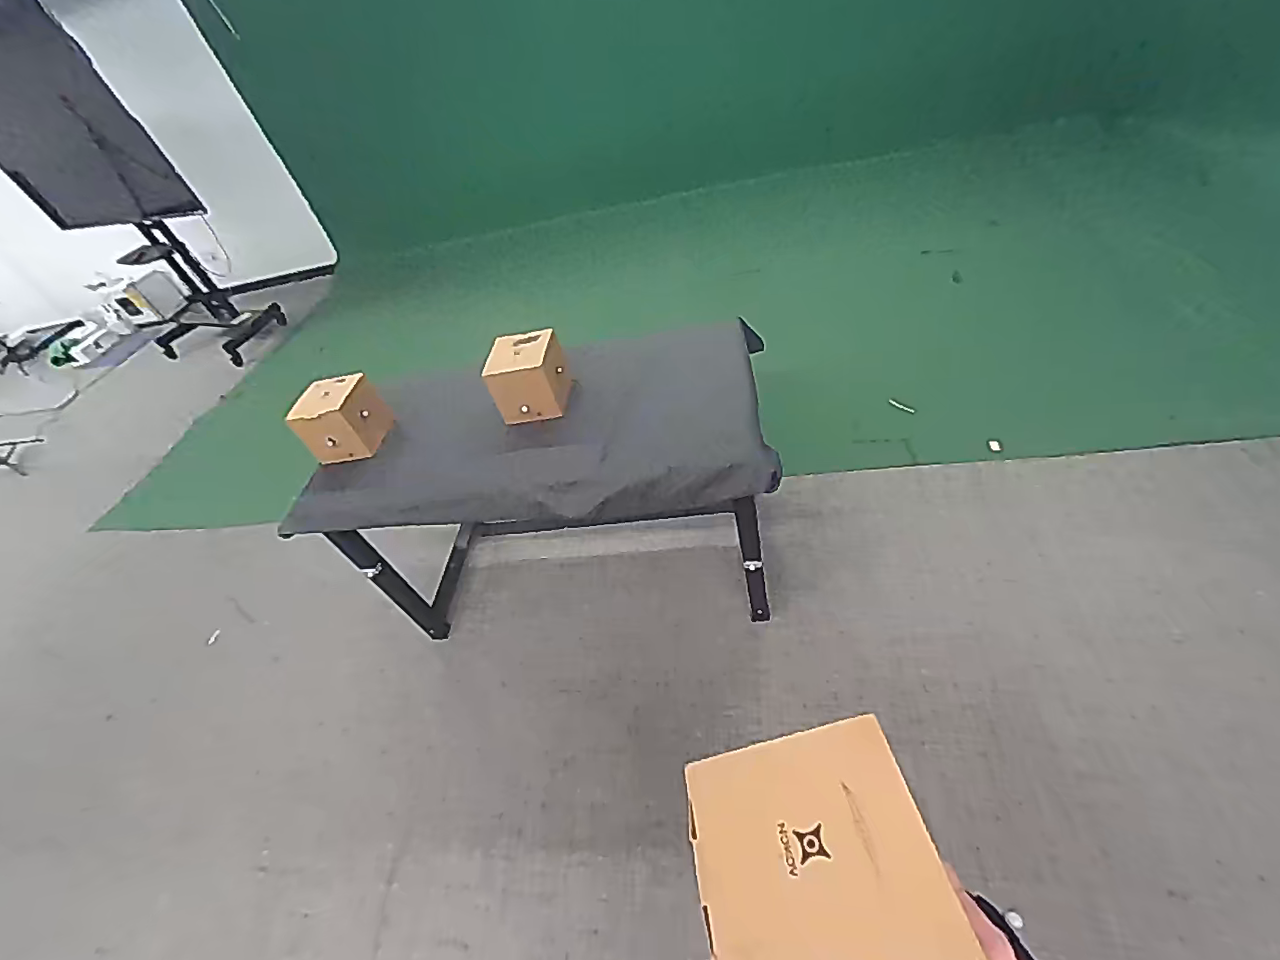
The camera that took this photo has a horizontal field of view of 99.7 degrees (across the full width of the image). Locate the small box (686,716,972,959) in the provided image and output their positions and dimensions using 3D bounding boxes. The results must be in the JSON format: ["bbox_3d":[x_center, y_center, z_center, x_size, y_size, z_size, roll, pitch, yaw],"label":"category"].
[{"bbox_3d":[0.157,0.341,0.469,0.179,0.176,0.168,-19,38,8],"label":"small box"}]

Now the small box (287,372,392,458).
[{"bbox_3d":[-0.834,-0.176,1.522,0.168,0.176,0.179,-7,46,9],"label":"small box"}]

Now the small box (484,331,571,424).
[{"bbox_3d":[-0.294,-0.276,1.459,0.168,0.176,0.179,-6,47,11],"label":"small box"}]
